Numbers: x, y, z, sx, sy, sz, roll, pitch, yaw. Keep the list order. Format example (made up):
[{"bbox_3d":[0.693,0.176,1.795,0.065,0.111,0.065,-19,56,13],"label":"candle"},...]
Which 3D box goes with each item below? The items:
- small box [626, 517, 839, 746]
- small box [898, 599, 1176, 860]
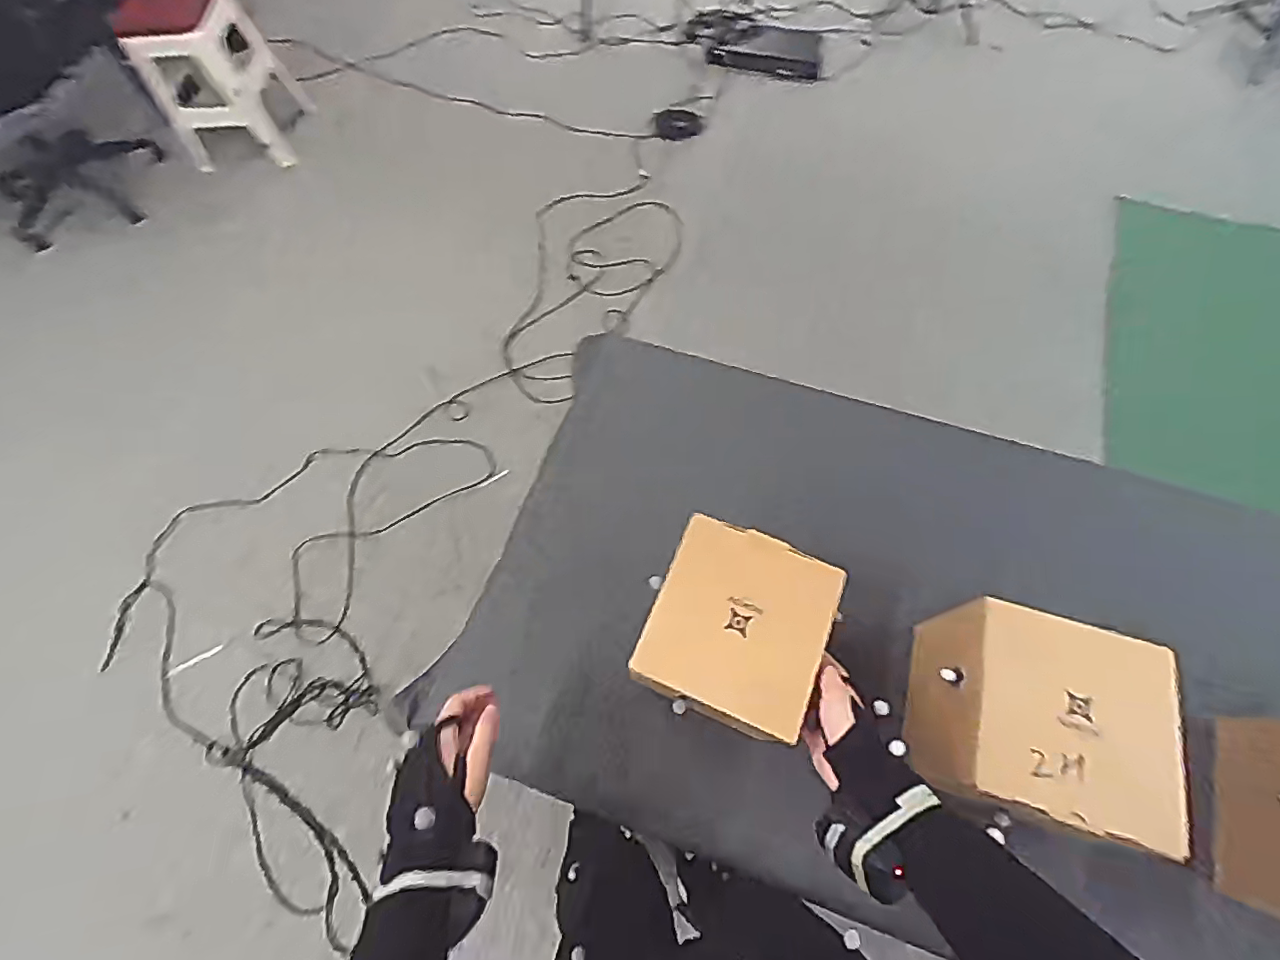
[{"bbox_3d":[0.098,0.173,0.604,0.168,0.176,0.179,21,67,11],"label":"small box"},{"bbox_3d":[0.388,0.246,0.557,0.168,0.176,0.179,16,67,10],"label":"small box"}]
